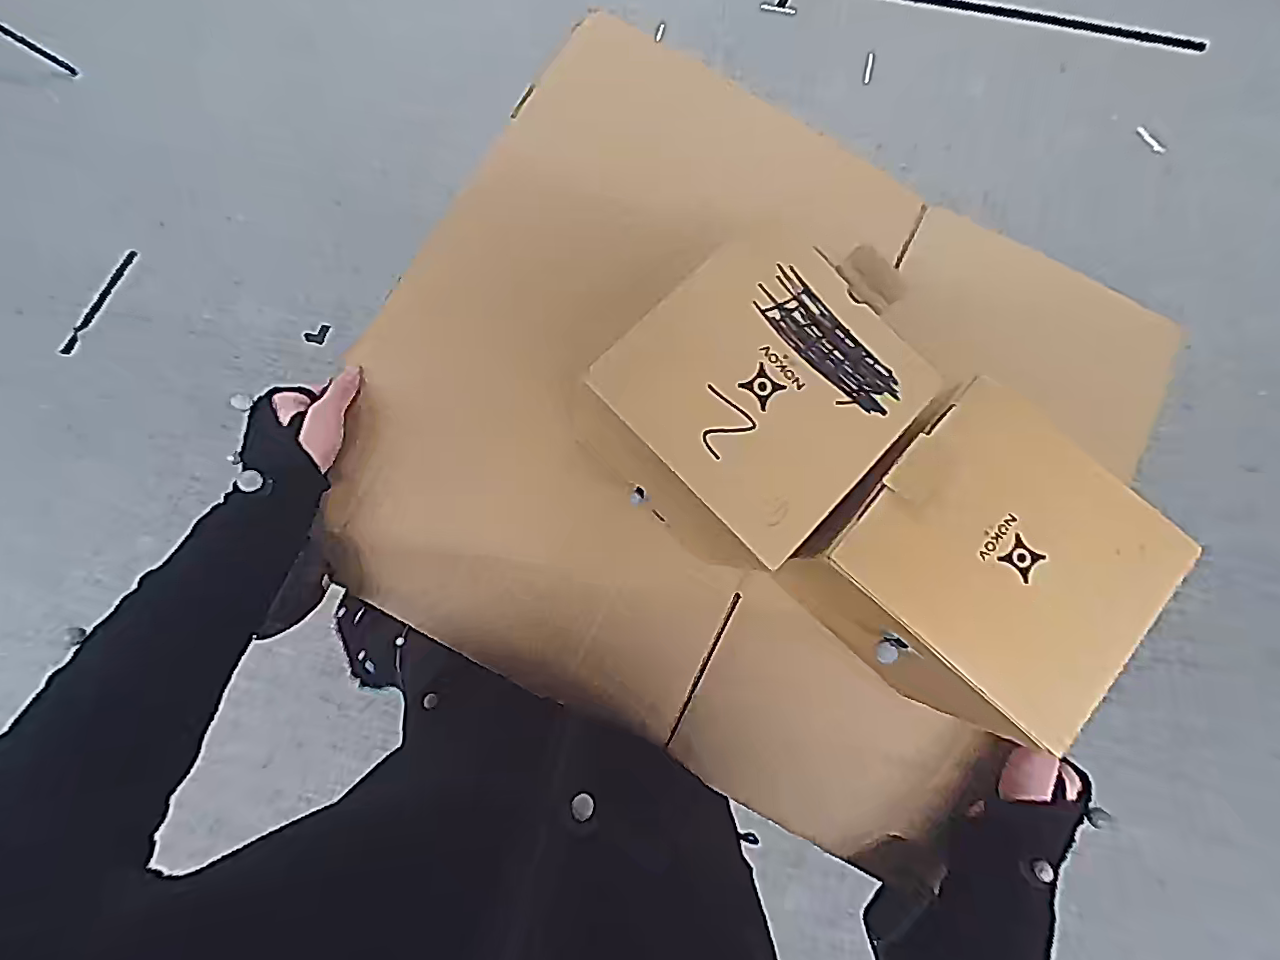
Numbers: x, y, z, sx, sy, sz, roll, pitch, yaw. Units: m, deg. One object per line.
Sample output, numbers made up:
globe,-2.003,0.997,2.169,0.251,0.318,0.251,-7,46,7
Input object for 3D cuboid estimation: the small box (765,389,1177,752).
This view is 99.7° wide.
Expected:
small box,0.228,0.065,0.424,0.179,0.176,0.168,41,81,7
